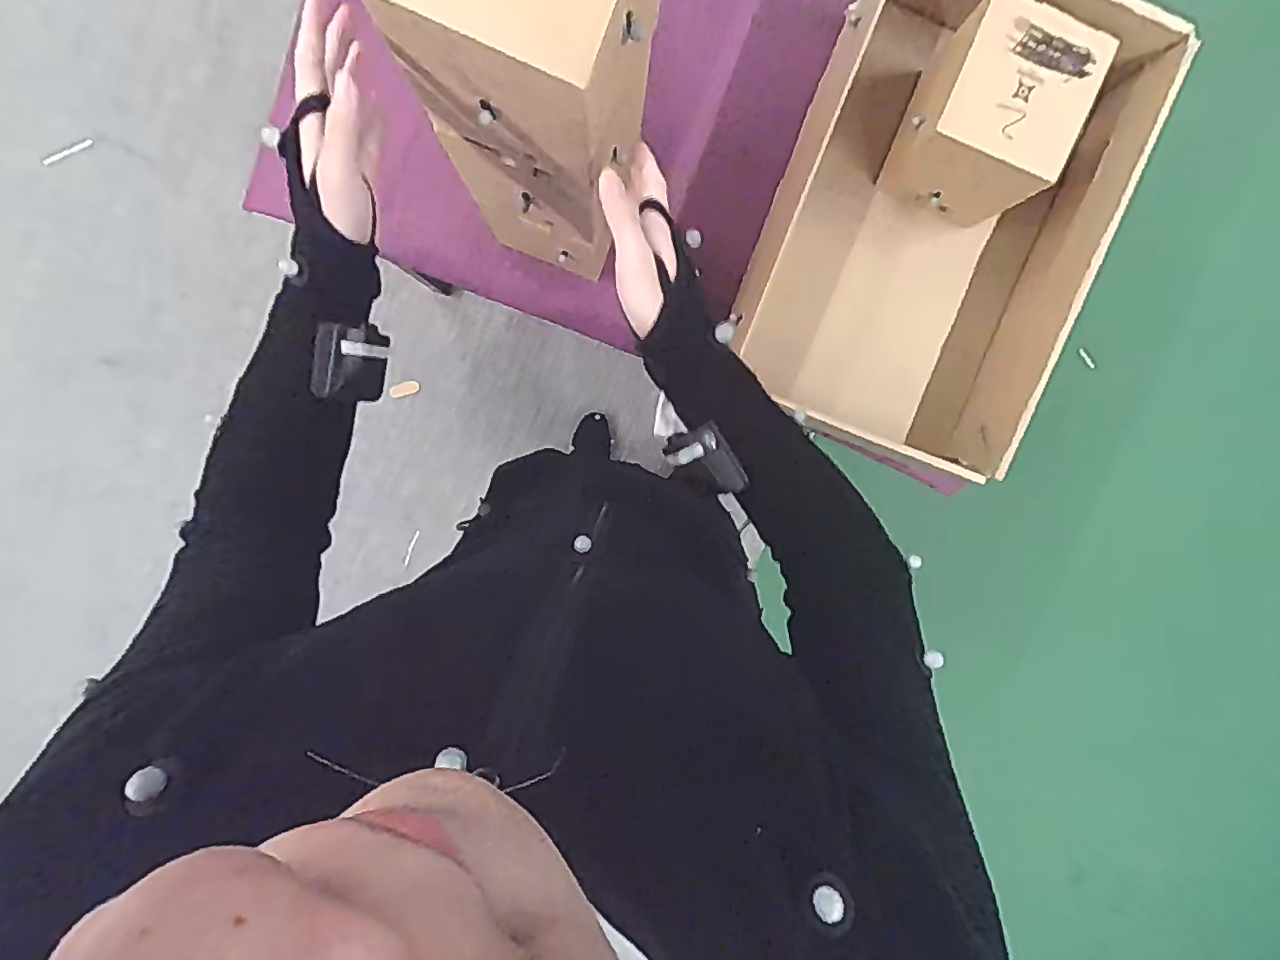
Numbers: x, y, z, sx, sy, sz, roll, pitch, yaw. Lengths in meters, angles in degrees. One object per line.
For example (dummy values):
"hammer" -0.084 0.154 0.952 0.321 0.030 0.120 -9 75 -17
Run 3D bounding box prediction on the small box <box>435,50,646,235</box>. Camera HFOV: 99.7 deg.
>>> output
"small box" -0.096 -0.402 0.596 0.168 0.176 0.179 20 95 -6

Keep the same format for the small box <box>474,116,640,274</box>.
"small box" -0.107 -0.415 0.758 0.168 0.176 0.179 21 94 -5

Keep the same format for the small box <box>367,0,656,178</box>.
"small box" -0.084 -0.383 0.431 0.168 0.176 0.179 22 94 -6
